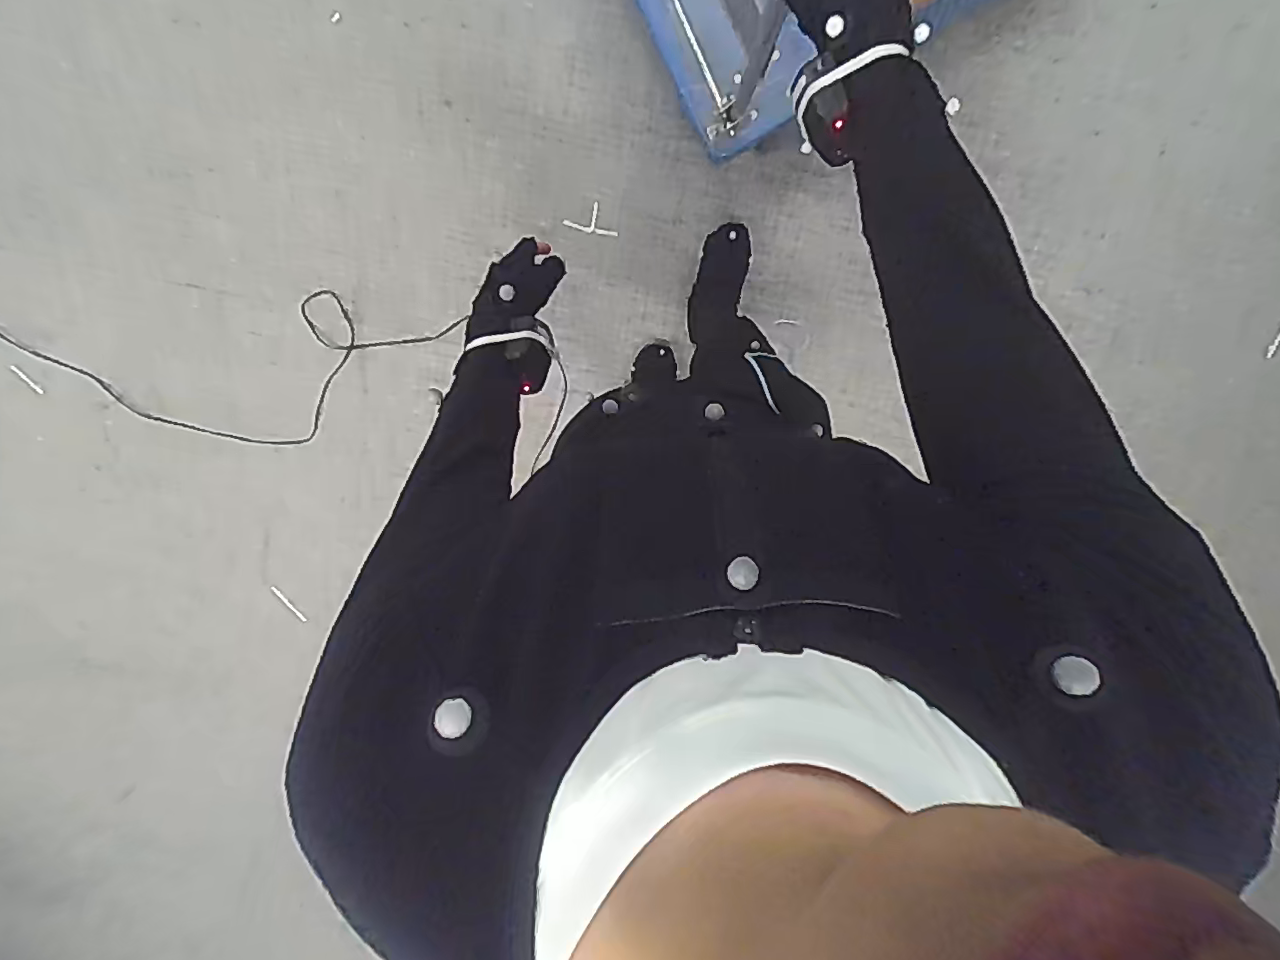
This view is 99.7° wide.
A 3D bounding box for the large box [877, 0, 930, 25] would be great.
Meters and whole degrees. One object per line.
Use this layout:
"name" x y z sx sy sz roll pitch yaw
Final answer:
"large box" 0.496 -1.053 0.819 0.320 0.320 0.408 -29 104 9
